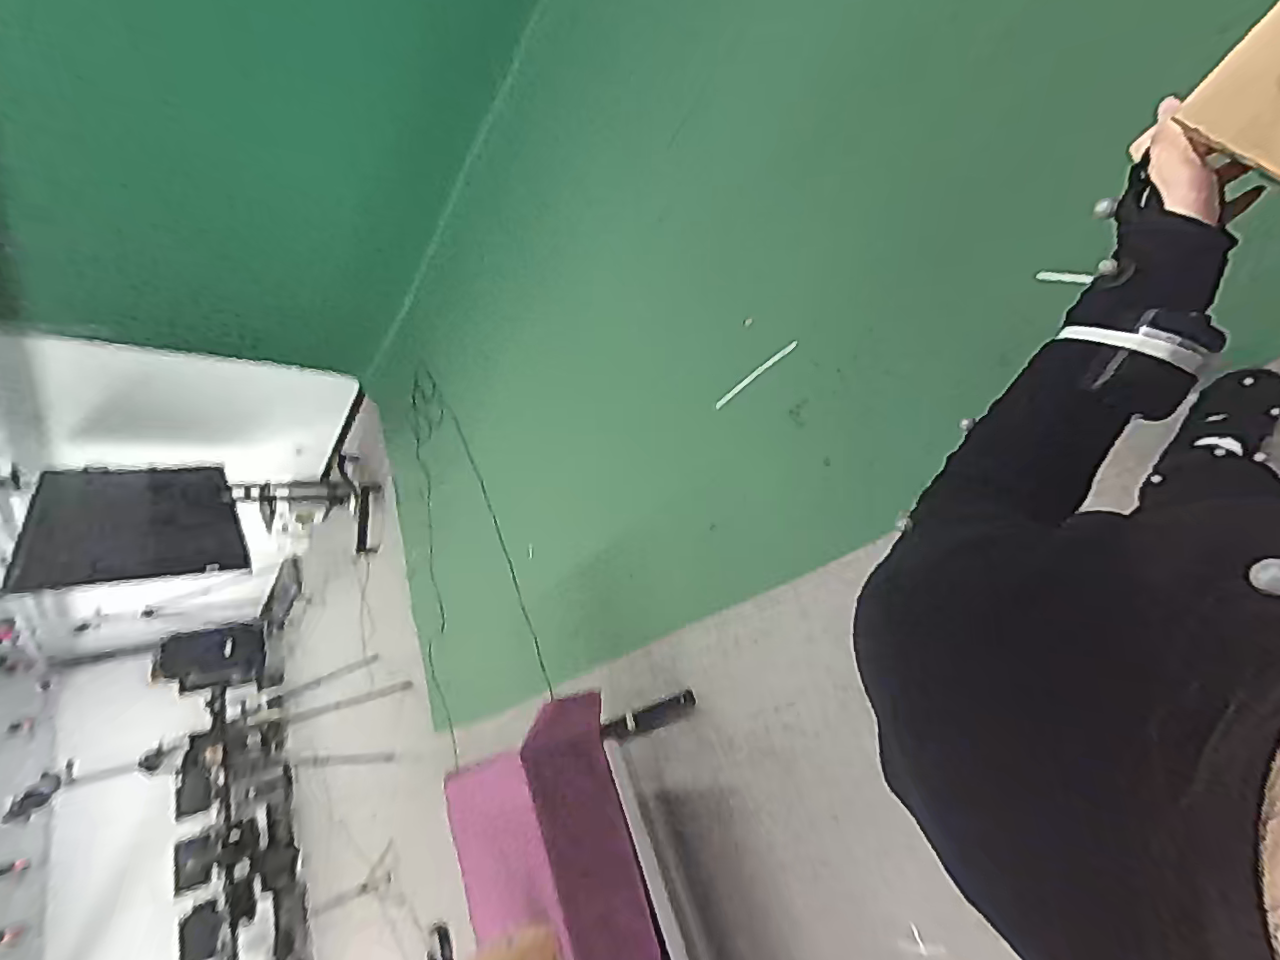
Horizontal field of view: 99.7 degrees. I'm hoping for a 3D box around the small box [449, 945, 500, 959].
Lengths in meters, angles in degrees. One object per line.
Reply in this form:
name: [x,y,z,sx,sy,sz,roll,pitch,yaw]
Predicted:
small box: [-0.420,1.240,1.268,0.179,0.176,0.168,-36,64,42]
